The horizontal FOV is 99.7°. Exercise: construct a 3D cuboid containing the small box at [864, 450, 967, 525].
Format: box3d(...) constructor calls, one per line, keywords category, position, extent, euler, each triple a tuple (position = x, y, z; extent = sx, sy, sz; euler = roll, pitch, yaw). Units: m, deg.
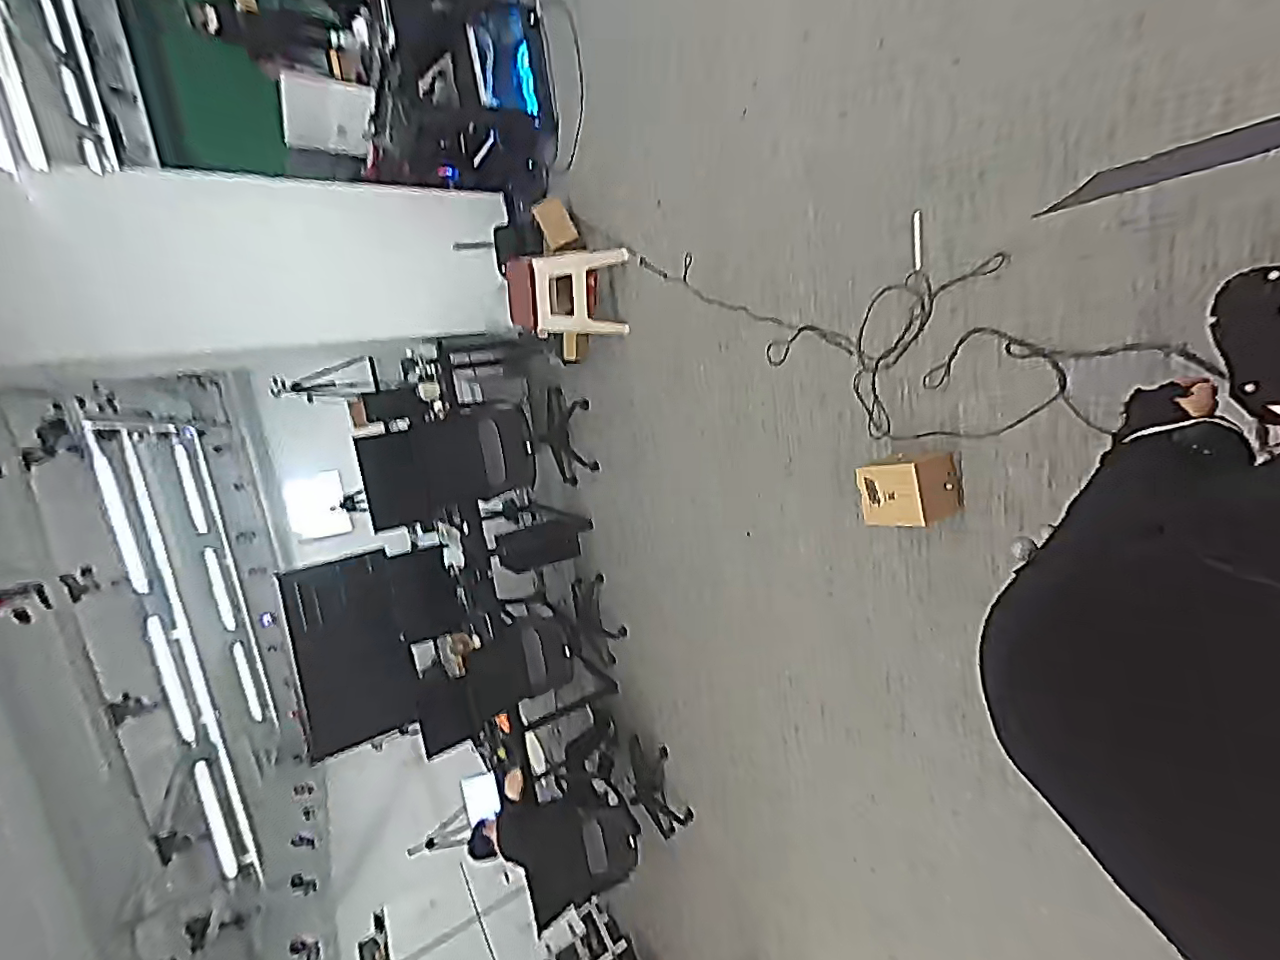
box3d(category="small box", position=(0.741, 0.019, 1.457), extent=(0.179, 0.176, 0.168), euler=(-5, 100, 60))
